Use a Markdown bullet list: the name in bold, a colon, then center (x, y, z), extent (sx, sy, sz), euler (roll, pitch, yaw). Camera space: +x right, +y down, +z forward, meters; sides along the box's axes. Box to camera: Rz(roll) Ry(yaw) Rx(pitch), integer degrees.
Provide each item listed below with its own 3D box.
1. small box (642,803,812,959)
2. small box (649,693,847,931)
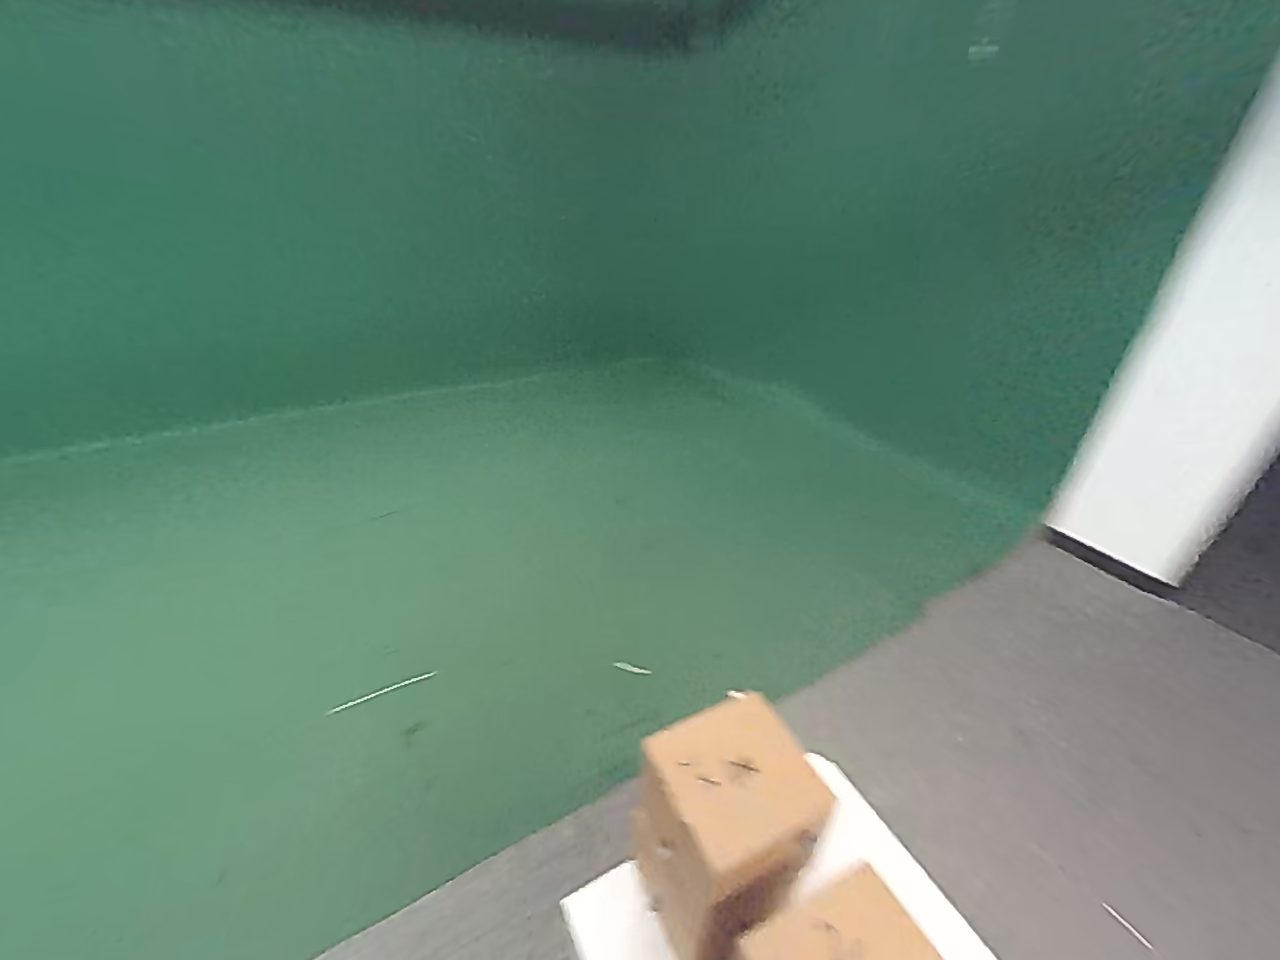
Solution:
- **small box**: center (0.113, 0.552, 0.777), extent (0.179, 0.176, 0.168), euler (-15, 36, -23)
- **small box**: center (0.123, 0.415, 0.687), extent (0.179, 0.176, 0.168), euler (-13, 36, -22)
